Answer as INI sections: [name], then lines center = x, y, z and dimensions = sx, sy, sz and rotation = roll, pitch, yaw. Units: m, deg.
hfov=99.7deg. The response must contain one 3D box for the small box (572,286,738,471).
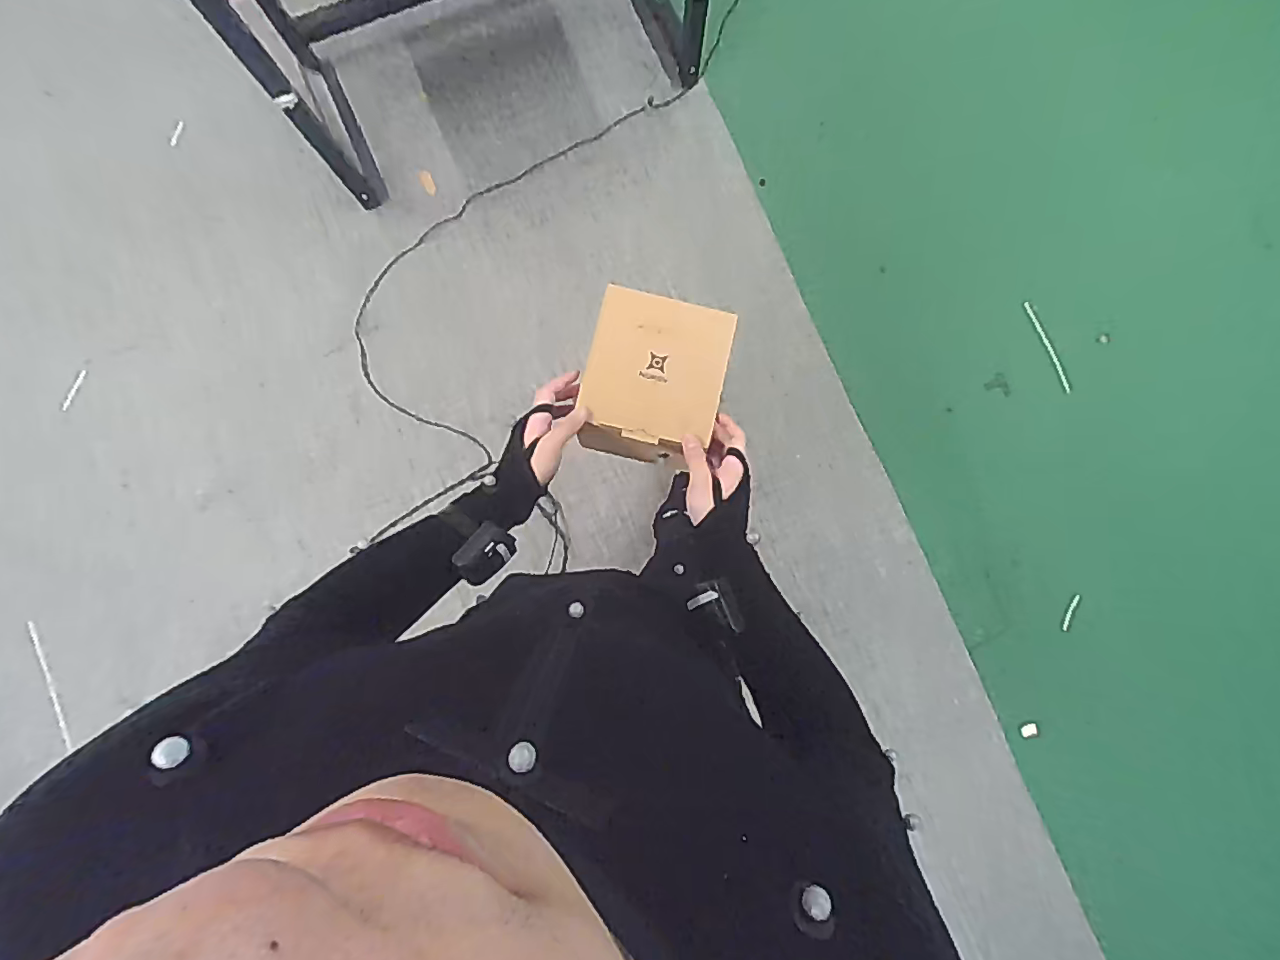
[small box]
center = 0.017, -0.120, 0.716
dimensions = 0.168, 0.176, 0.179
rotation = 14, 81, -1
